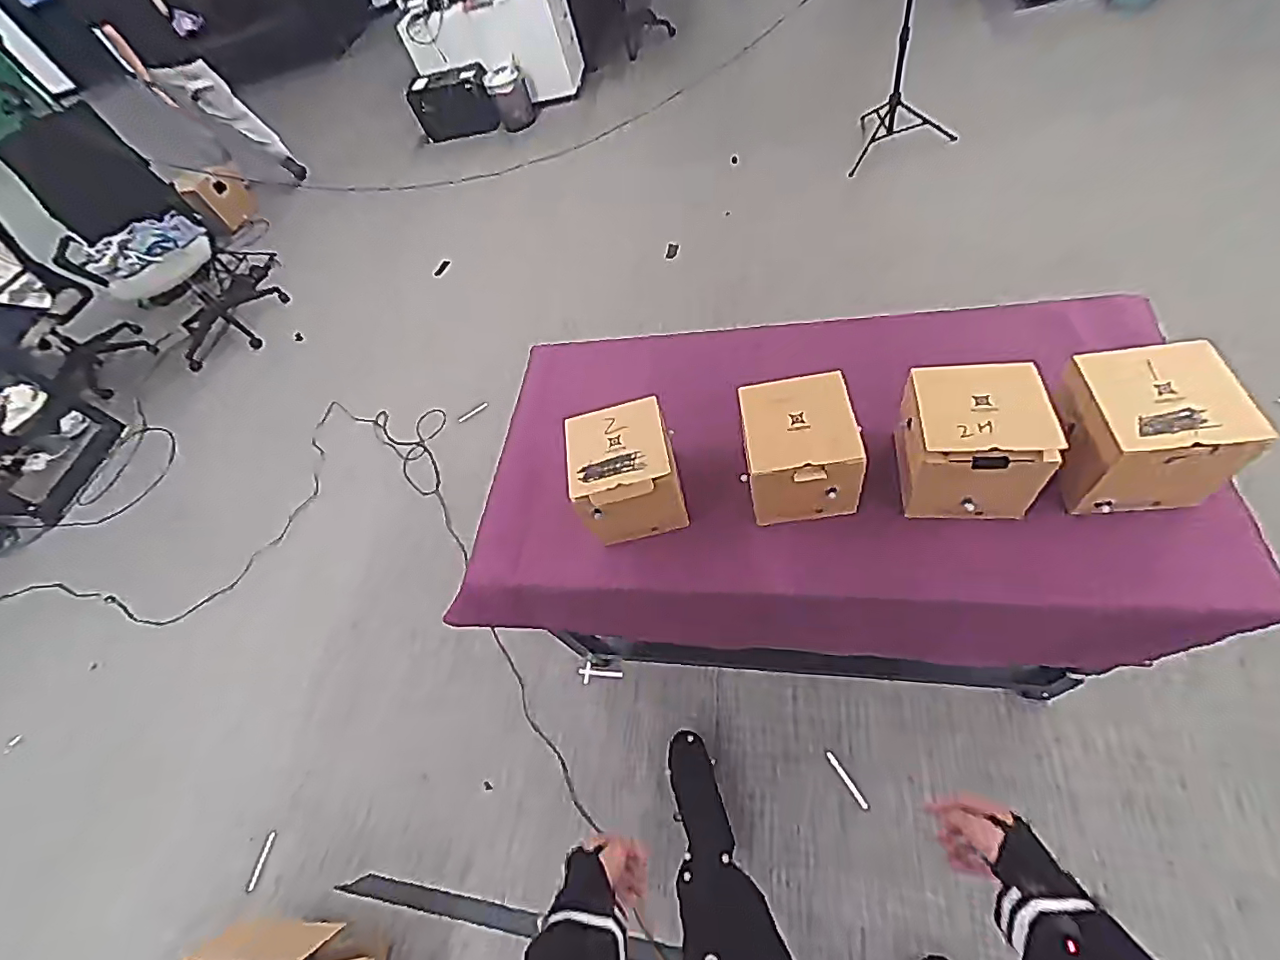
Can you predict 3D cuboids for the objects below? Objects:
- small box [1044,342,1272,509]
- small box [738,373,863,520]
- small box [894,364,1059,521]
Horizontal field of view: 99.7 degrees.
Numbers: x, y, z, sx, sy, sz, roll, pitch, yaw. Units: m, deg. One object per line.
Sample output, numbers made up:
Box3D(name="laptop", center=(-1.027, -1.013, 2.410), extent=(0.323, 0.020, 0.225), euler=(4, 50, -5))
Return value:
Box3D(name="small box", center=(0.711, -0.068, 0.780), extent=(0.168, 0.176, 0.179), euler=(-5, 56, 13))
Box3D(name="small box", center=(0.259, -0.044, 0.893), extent=(0.168, 0.176, 0.179), euler=(-8, 56, 10))
Box3D(name="small box", center=(0.497, -0.054, 0.831), extent=(0.168, 0.176, 0.179), euler=(0, 59, 16))
